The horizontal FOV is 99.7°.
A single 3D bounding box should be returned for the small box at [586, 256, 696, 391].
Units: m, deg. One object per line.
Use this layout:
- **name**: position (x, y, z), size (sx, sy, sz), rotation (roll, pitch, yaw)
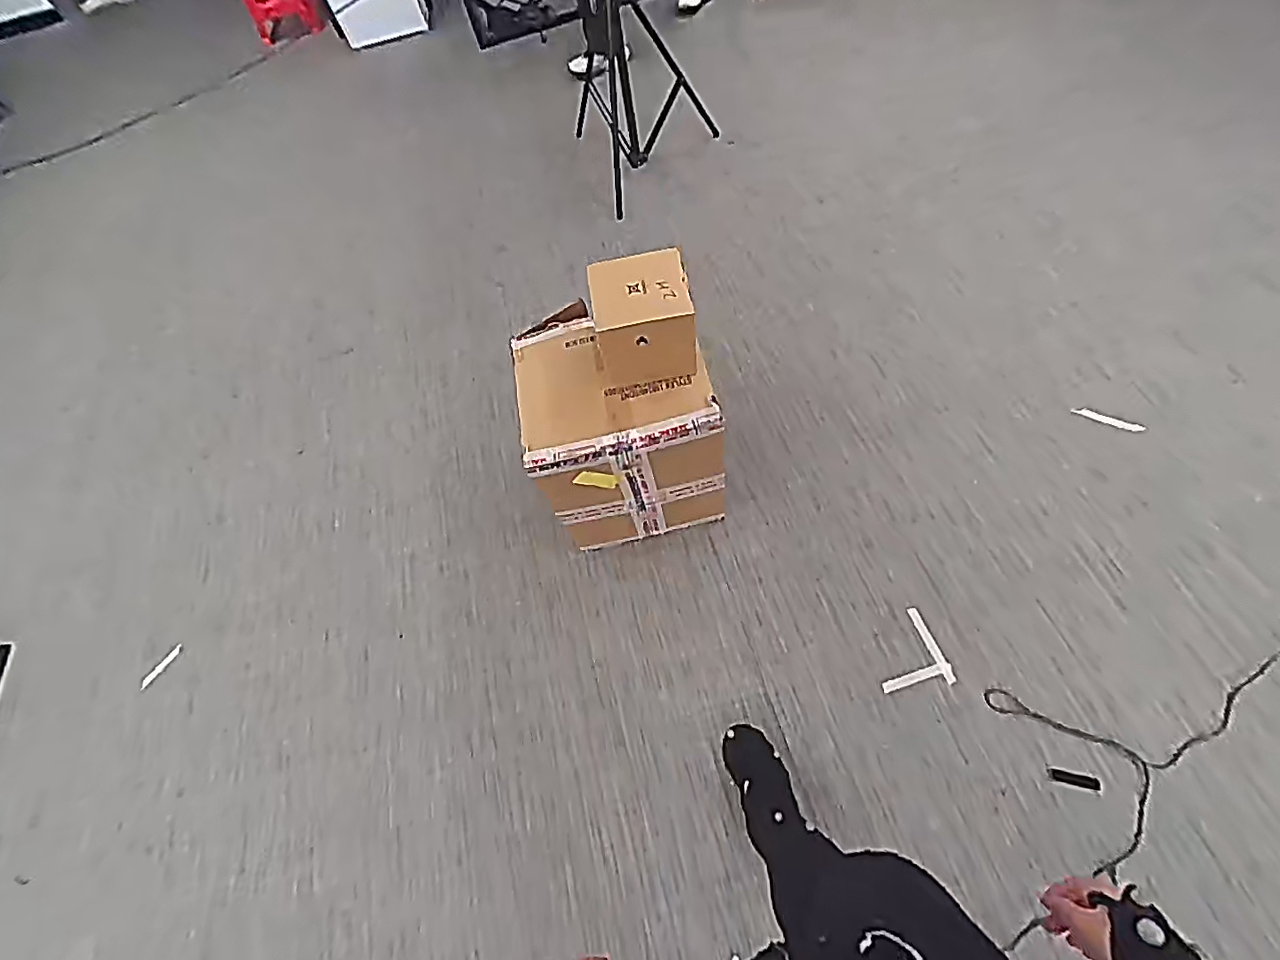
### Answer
- **small box**: position (0.006, -0.289, 1.028), size (0.179, 0.176, 0.168), rotation (-10, 63, 2)
